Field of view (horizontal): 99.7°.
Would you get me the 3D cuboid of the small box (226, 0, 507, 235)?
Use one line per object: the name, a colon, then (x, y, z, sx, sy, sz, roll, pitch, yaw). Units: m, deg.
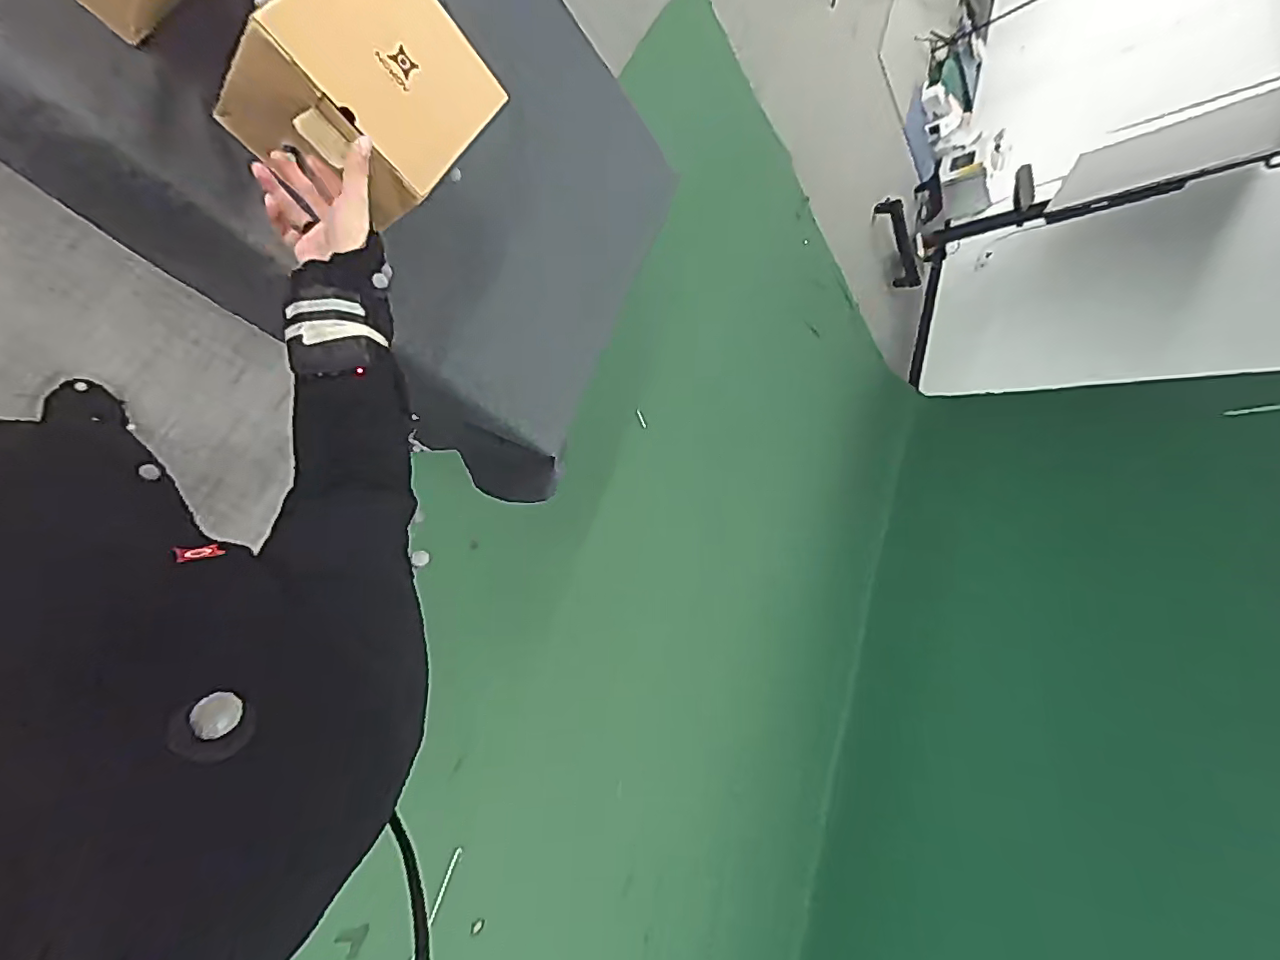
small box: (-0.278, -0.390, 0.554, 0.168, 0.176, 0.179, 44, 61, -39)
